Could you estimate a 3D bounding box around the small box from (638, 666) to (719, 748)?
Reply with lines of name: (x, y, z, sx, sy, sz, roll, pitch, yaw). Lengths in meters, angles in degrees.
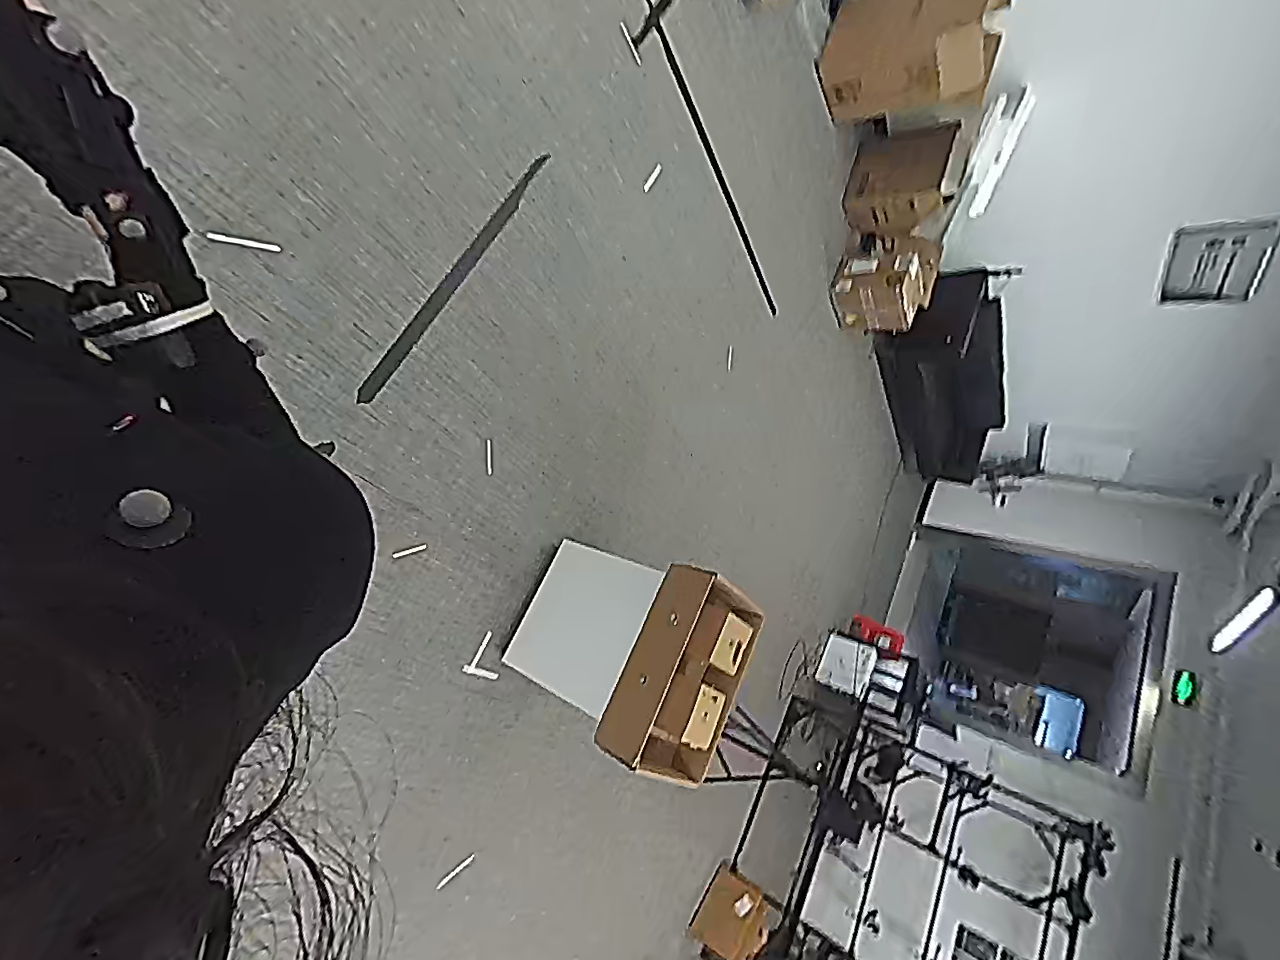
small box: (0.118, 0.726, 1.735, 0.168, 0.176, 0.179, 44, 64, -42)

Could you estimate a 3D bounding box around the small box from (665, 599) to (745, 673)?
small box: (0.216, 0.514, 1.801, 0.179, 0.176, 0.168, 42, 67, -41)
